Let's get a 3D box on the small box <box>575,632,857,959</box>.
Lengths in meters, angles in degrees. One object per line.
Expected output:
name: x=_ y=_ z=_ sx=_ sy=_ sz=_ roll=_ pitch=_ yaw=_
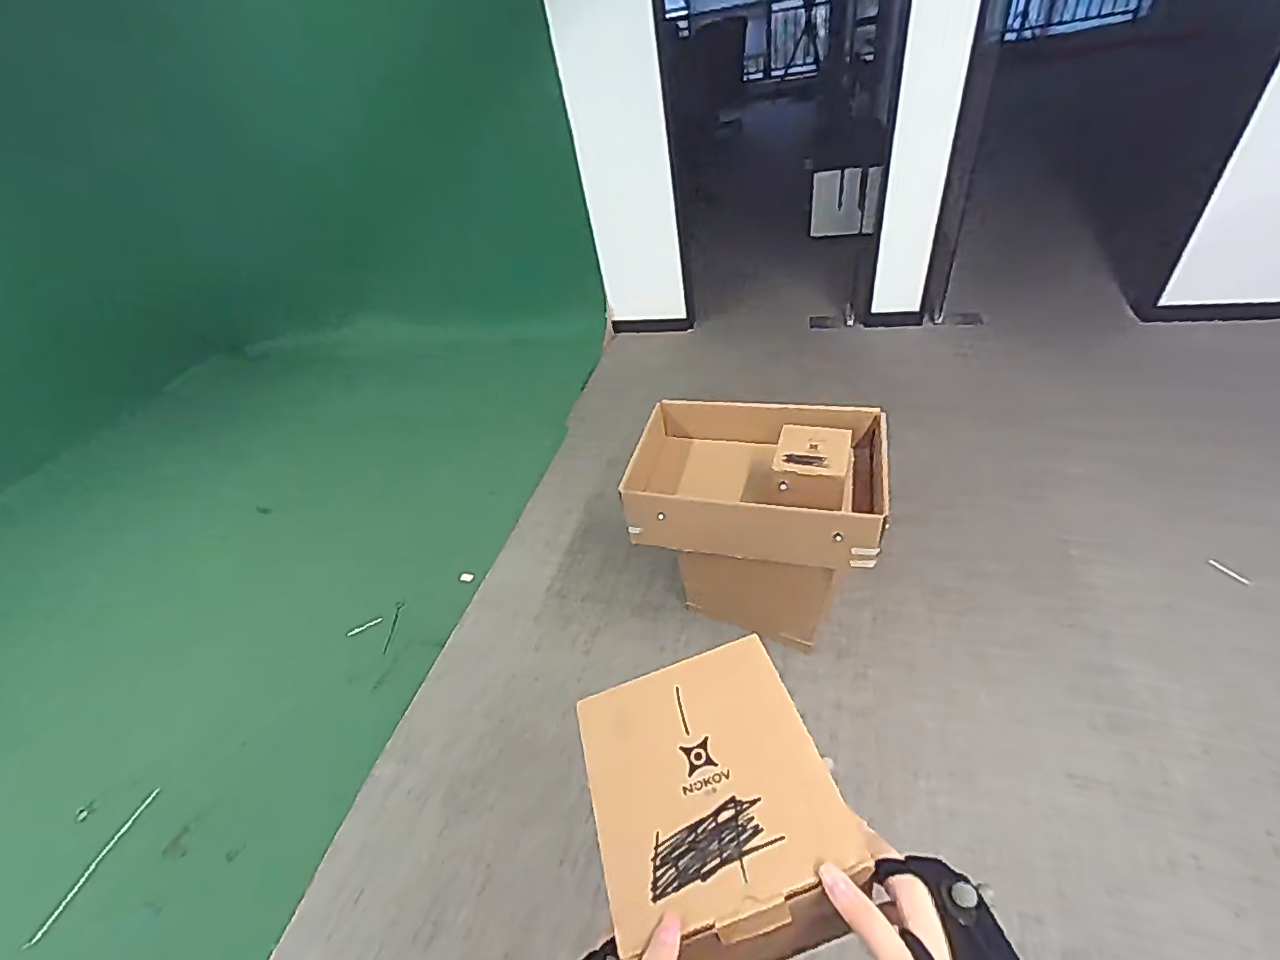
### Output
small box: x=0.062 y=0.266 z=0.445 sx=0.168 sy=0.176 sz=0.179 roll=-21 pitch=38 yaw=-2
